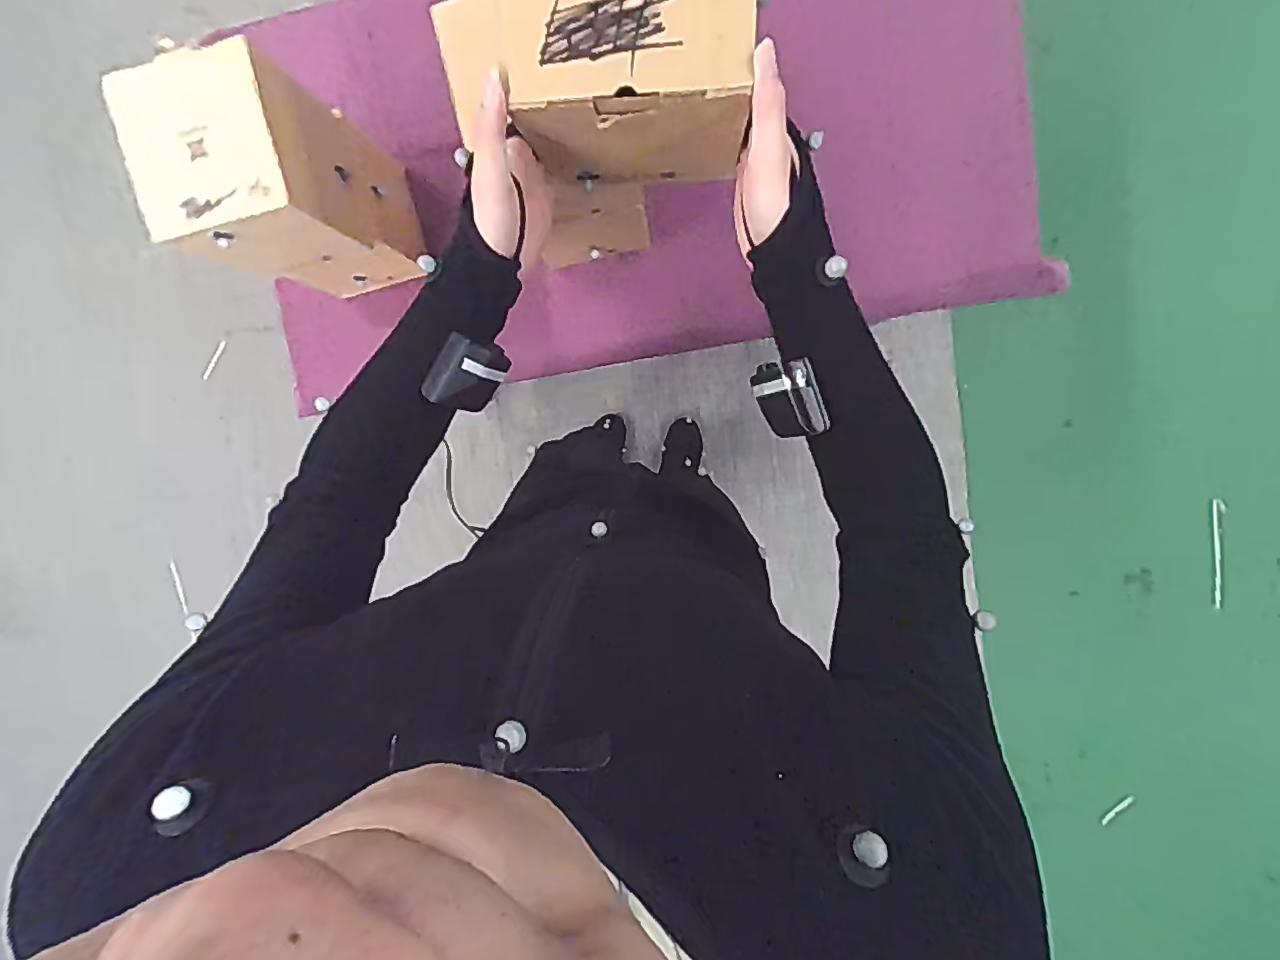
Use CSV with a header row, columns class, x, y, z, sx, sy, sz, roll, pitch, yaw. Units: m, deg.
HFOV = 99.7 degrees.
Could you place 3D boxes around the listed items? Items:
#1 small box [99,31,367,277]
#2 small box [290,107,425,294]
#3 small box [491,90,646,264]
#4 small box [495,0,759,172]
class,x,y,z,sx,sy,sz,roll,pitch,yaw
small box,-0.462,-0.366,0.642,0.168,0.176,0.179,-12,95,6
small box,-0.452,-0.399,0.804,0.168,0.176,0.179,-14,96,6
small box,-0.090,-0.433,0.769,0.168,0.176,0.179,-11,96,6
small box,-0.001,-0.345,0.399,0.168,0.176,0.179,0,101,5
